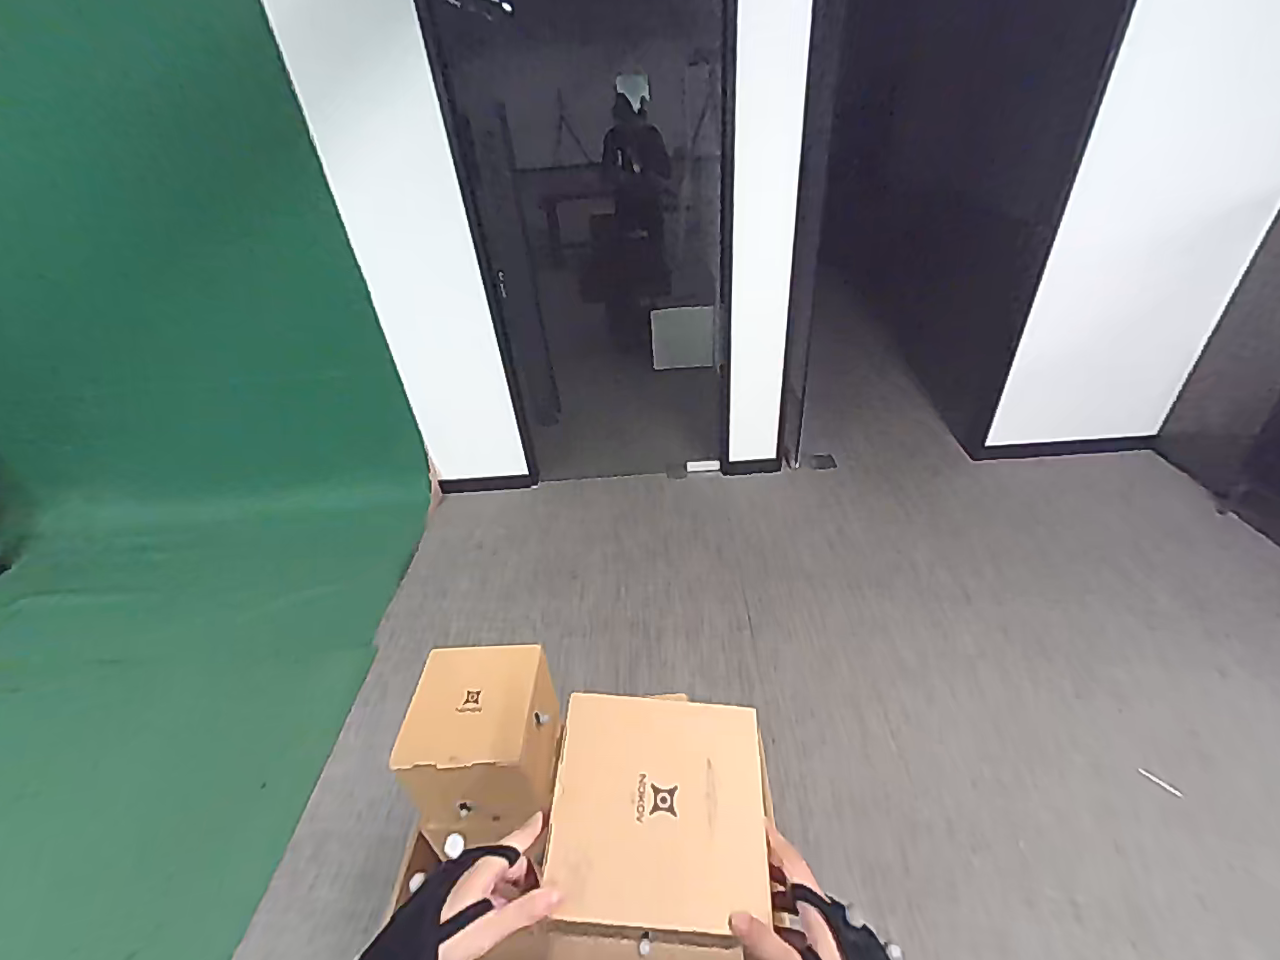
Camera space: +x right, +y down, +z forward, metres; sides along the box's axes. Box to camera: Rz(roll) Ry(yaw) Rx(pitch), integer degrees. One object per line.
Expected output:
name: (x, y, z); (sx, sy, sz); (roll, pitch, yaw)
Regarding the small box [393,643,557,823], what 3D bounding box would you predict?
small box: (-0.217, 0.357, 0.769); (0.168, 0.176, 0.179); (-3, 36, 2)
